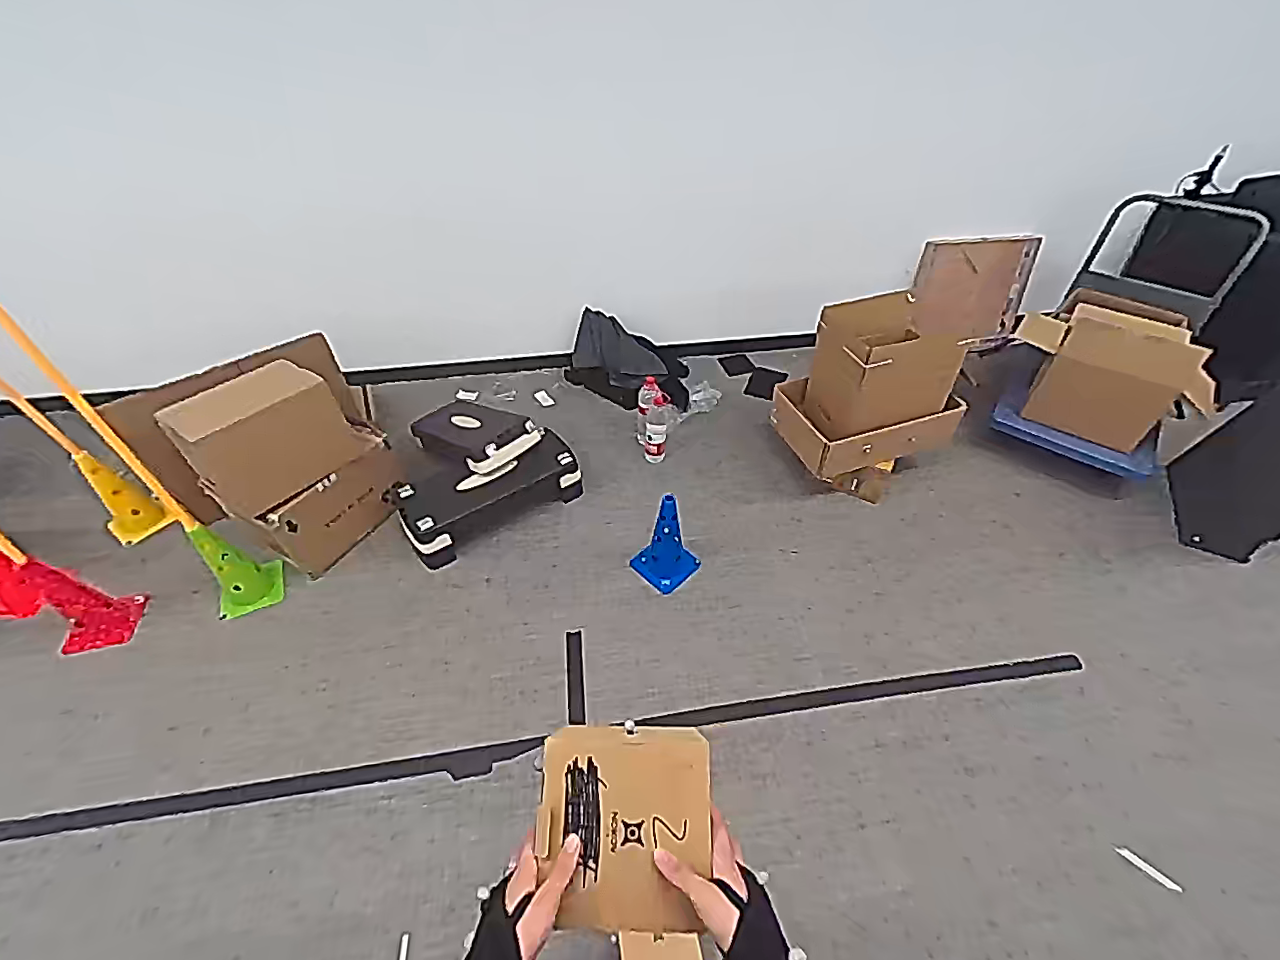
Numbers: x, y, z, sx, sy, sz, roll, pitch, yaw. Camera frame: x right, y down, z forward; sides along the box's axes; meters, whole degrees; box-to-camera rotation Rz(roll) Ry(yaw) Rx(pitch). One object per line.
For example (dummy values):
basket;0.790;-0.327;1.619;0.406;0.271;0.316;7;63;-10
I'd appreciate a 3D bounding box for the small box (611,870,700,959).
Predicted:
small box;0.032;0.996;1.195;0.168;0.176;0.179;-8;46;-8
